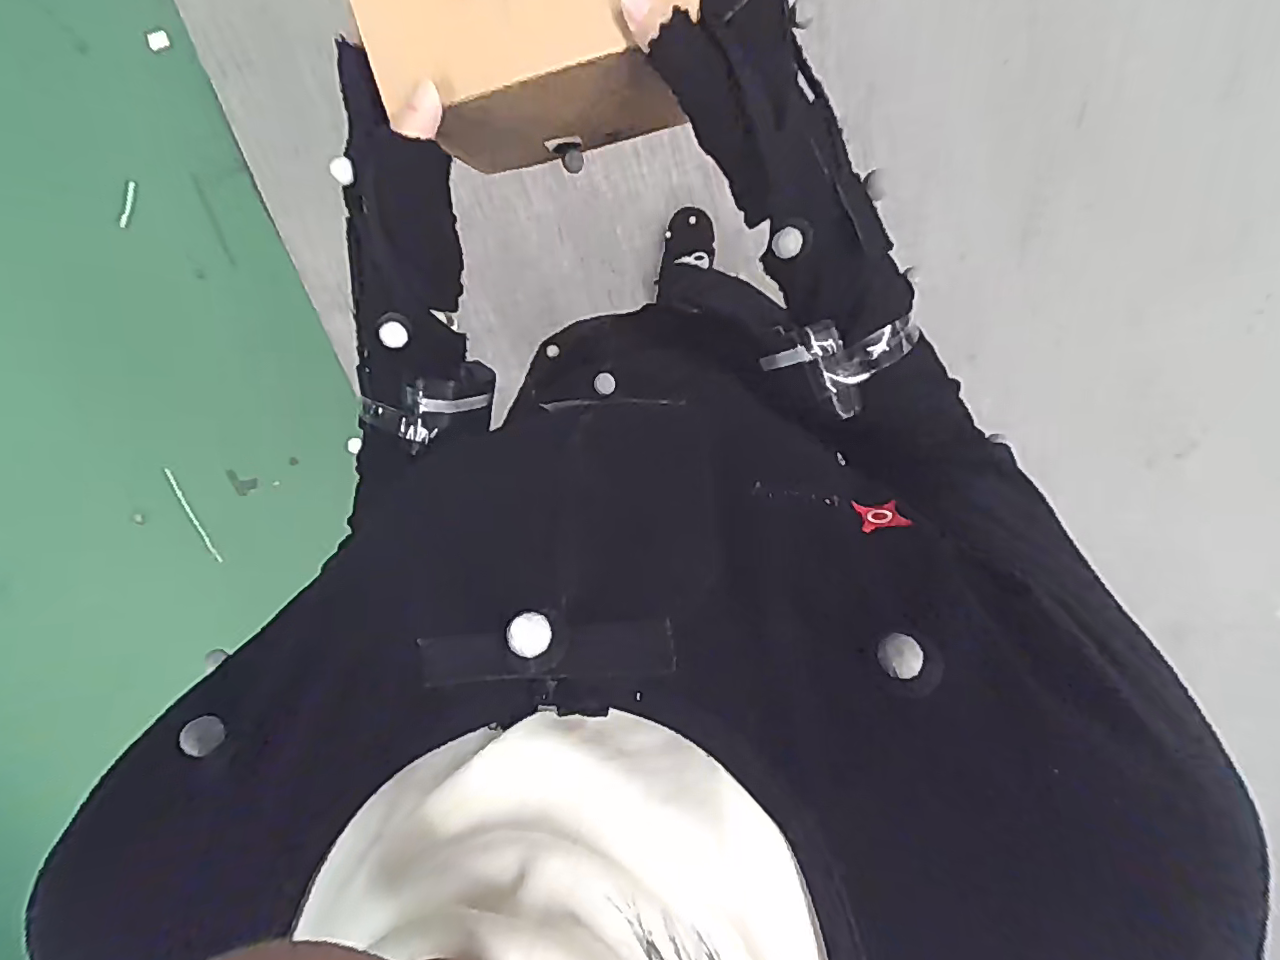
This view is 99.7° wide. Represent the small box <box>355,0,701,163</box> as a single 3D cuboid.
[{"bbox_3d":[-0.063,-0.314,0.314,0.168,0.176,0.179,-11,109,8],"label":"small box"}]
